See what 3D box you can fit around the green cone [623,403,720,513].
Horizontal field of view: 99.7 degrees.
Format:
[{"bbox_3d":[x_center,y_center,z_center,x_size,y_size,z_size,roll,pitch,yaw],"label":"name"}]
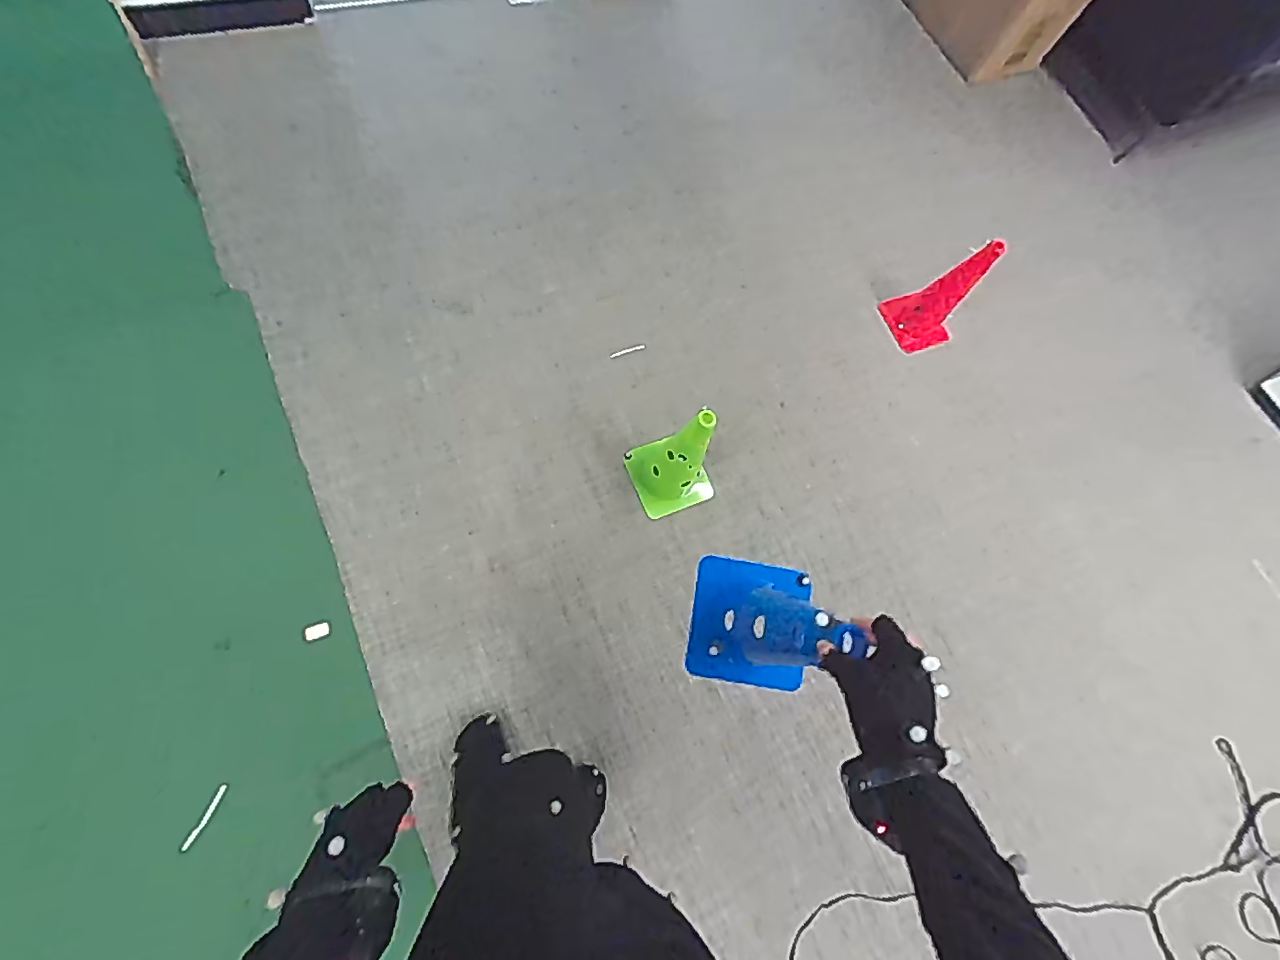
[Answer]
[{"bbox_3d":[0.108,-0.080,1.277,0.202,0.368,0.200,-22,78,-18],"label":"green cone"}]
